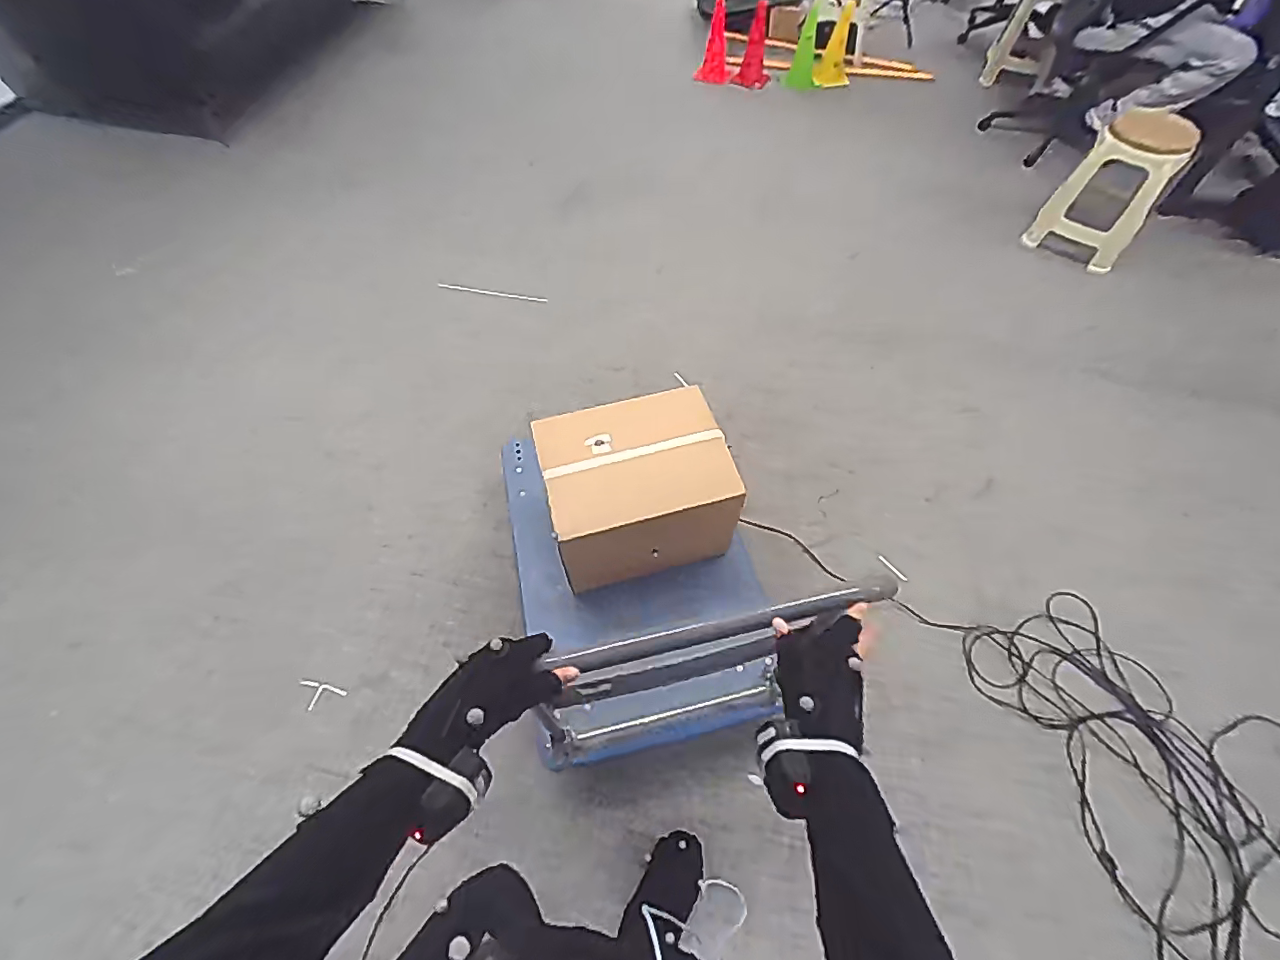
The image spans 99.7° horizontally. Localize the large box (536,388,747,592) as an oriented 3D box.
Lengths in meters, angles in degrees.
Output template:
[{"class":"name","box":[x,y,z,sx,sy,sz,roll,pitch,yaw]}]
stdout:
[{"class":"large box","box":[-0.002,0.032,1.306,0.408,0.320,0.320,-15,59,-8]}]
